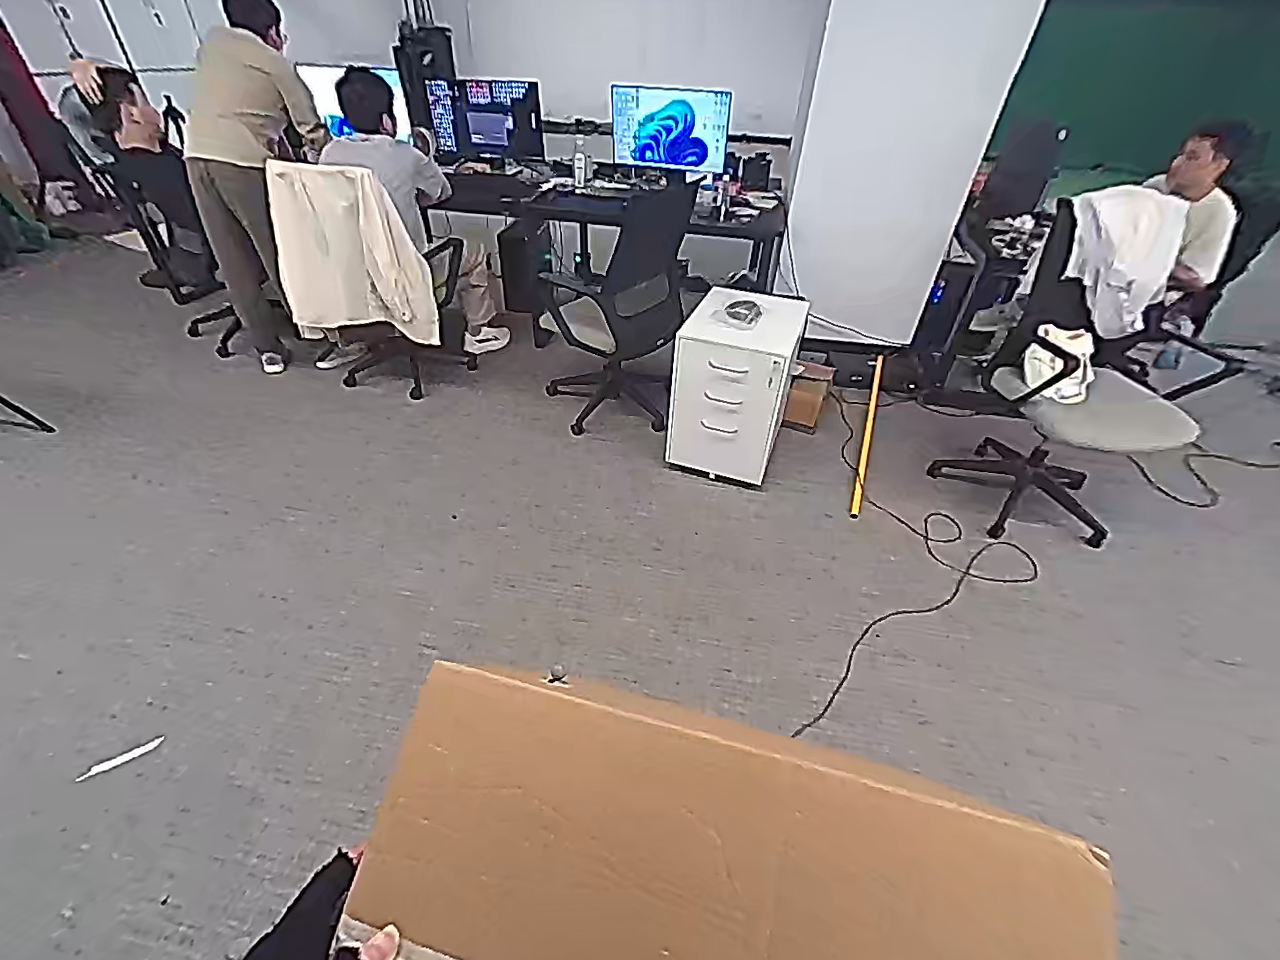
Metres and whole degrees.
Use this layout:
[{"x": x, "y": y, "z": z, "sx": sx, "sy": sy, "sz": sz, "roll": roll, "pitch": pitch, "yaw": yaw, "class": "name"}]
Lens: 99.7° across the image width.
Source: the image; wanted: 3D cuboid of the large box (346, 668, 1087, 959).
[{"x": 0.037, "y": 0.357, "z": 0.429, "sx": 0.408, "sy": 0.320, "sz": 0.320, "roll": 11, "pitch": 72, "yaw": 11, "class": "large box"}]
